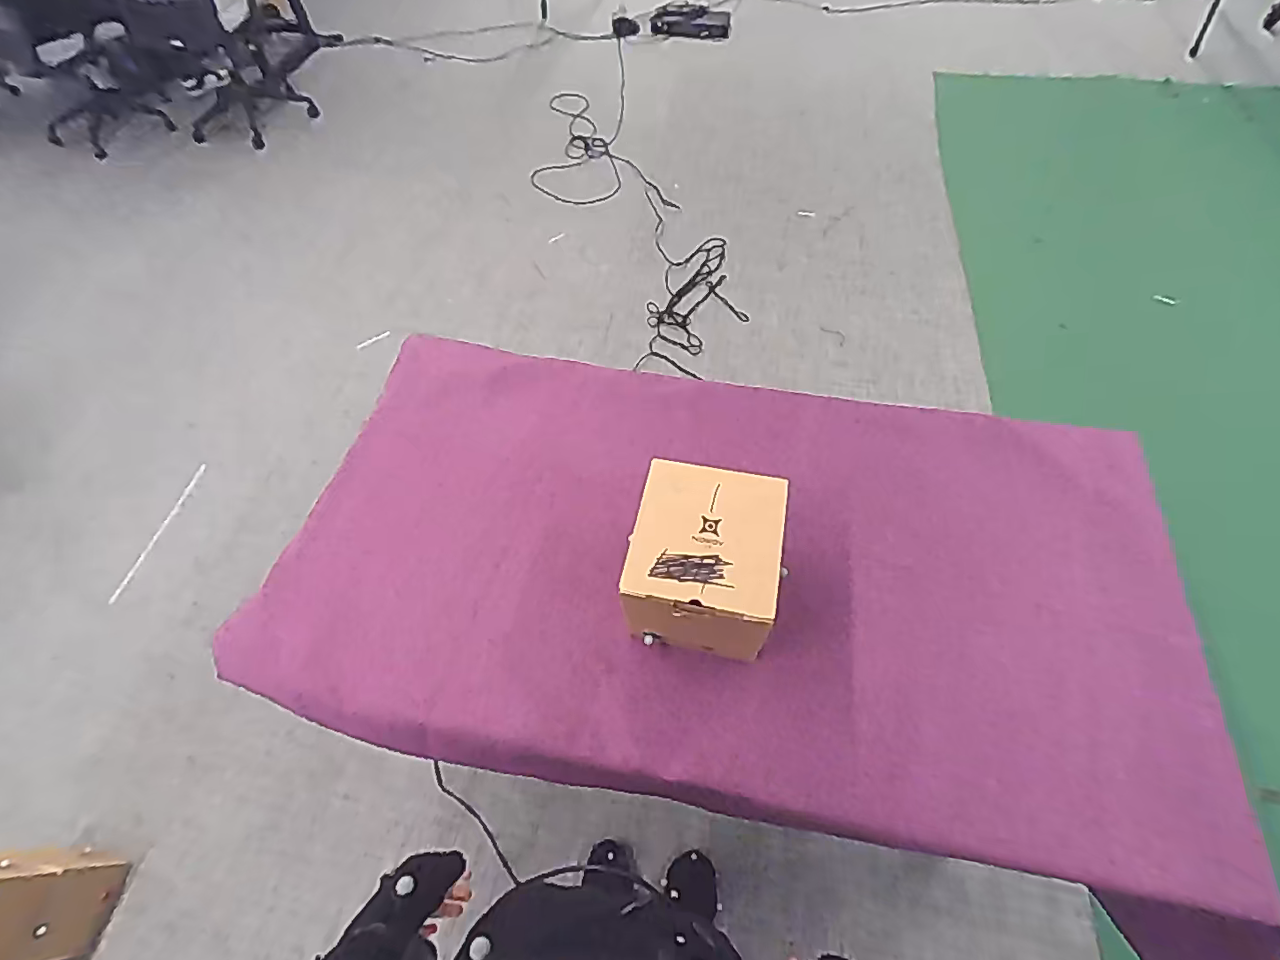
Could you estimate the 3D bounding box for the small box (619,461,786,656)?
[{"bbox_3d":[0.079,0.104,0.678,0.168,0.176,0.179,10,59,9],"label":"small box"}]
